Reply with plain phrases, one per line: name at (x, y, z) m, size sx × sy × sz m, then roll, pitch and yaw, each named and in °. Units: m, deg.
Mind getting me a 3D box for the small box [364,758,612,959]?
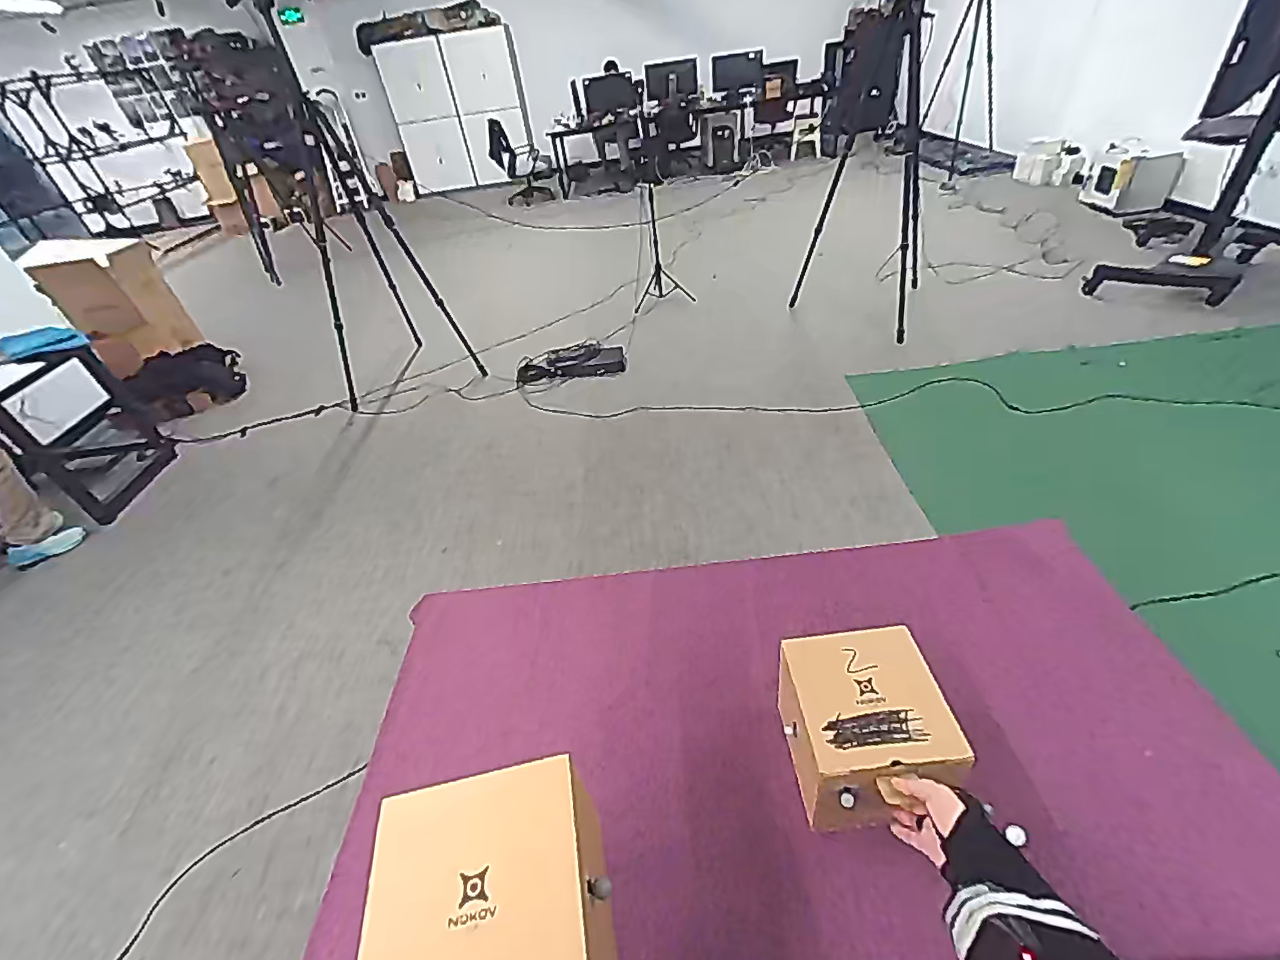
small box at (-0.120, 0.383, 0.475) m, size 0.168 × 0.176 × 0.179 m, roll -12°, pitch 42°, yaw -4°
